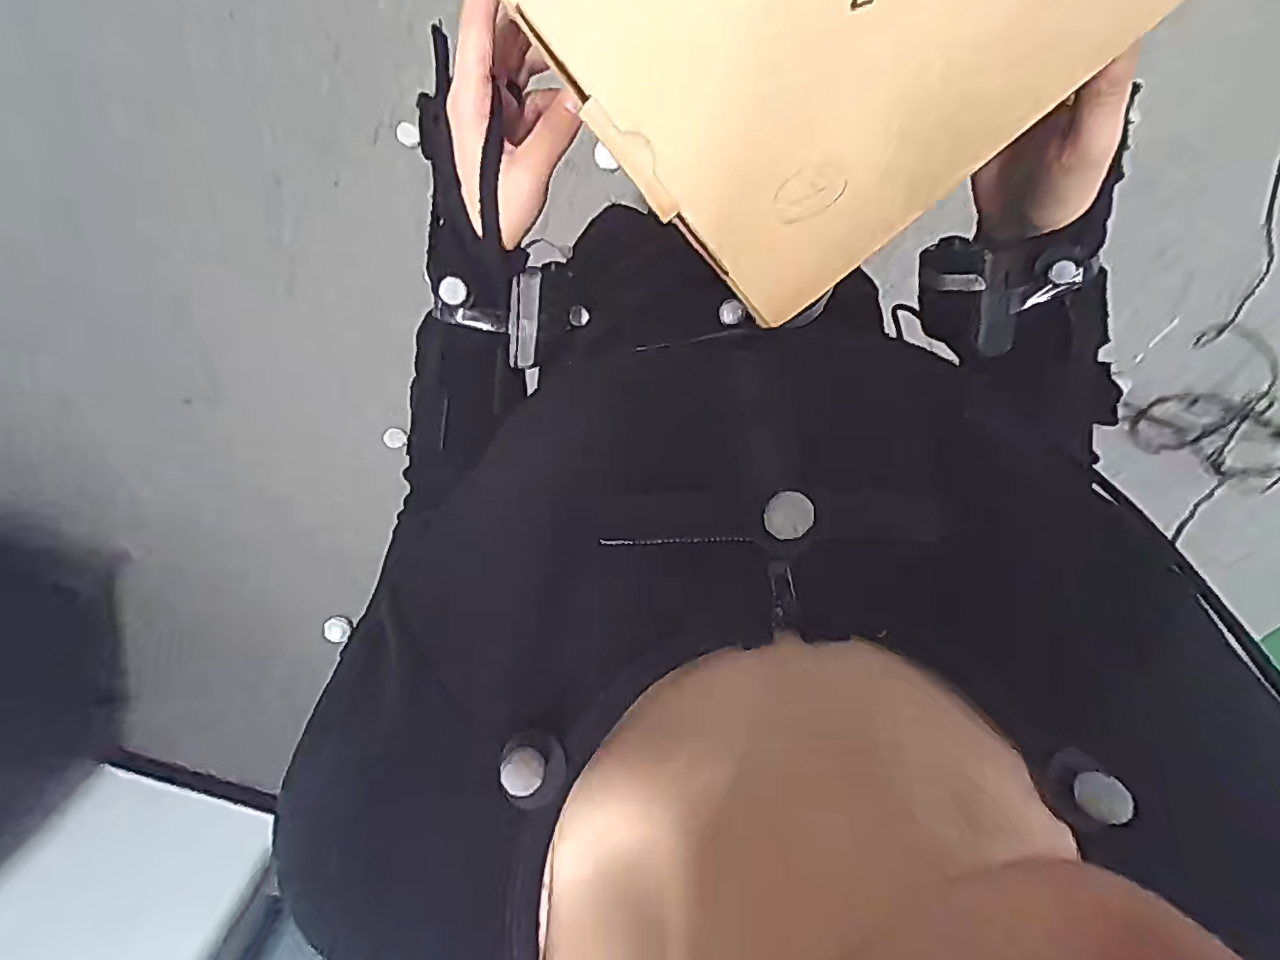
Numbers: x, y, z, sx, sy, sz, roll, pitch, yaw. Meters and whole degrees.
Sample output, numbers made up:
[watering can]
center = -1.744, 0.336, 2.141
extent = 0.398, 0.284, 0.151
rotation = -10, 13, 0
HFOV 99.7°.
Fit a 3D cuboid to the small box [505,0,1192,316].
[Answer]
[small box]
center = 0.059, -0.206, 0.215
extent = 0.179, 0.176, 0.168
rotation = -35, 121, 22
